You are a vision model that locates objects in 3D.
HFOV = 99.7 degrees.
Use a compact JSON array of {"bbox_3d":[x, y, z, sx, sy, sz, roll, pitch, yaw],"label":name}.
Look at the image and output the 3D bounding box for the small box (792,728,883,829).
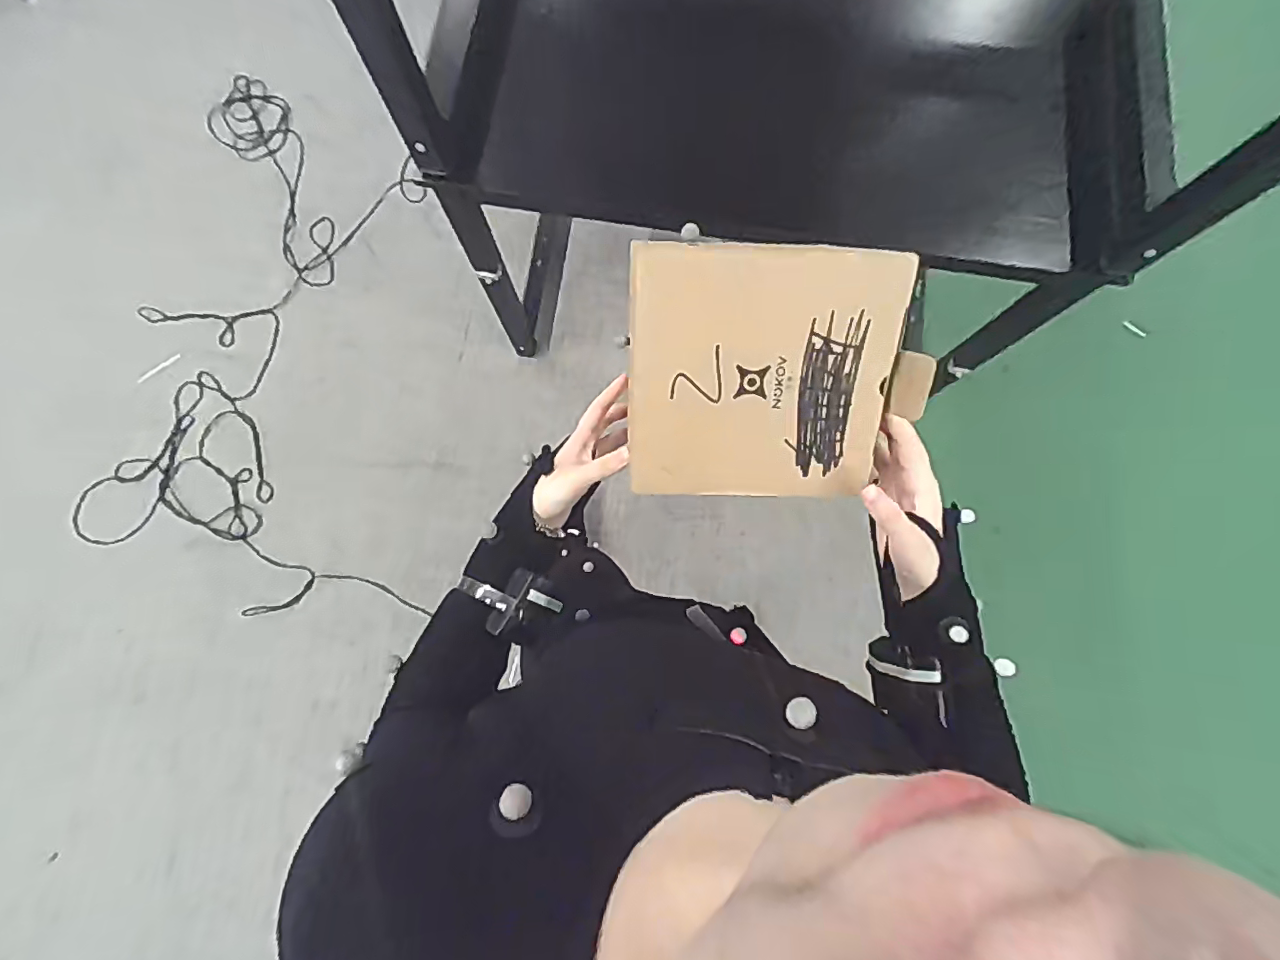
[{"bbox_3d":[0.475,0.719,1.322,0.168,0.176,0.179,2,80,1],"label":"small box"}]
